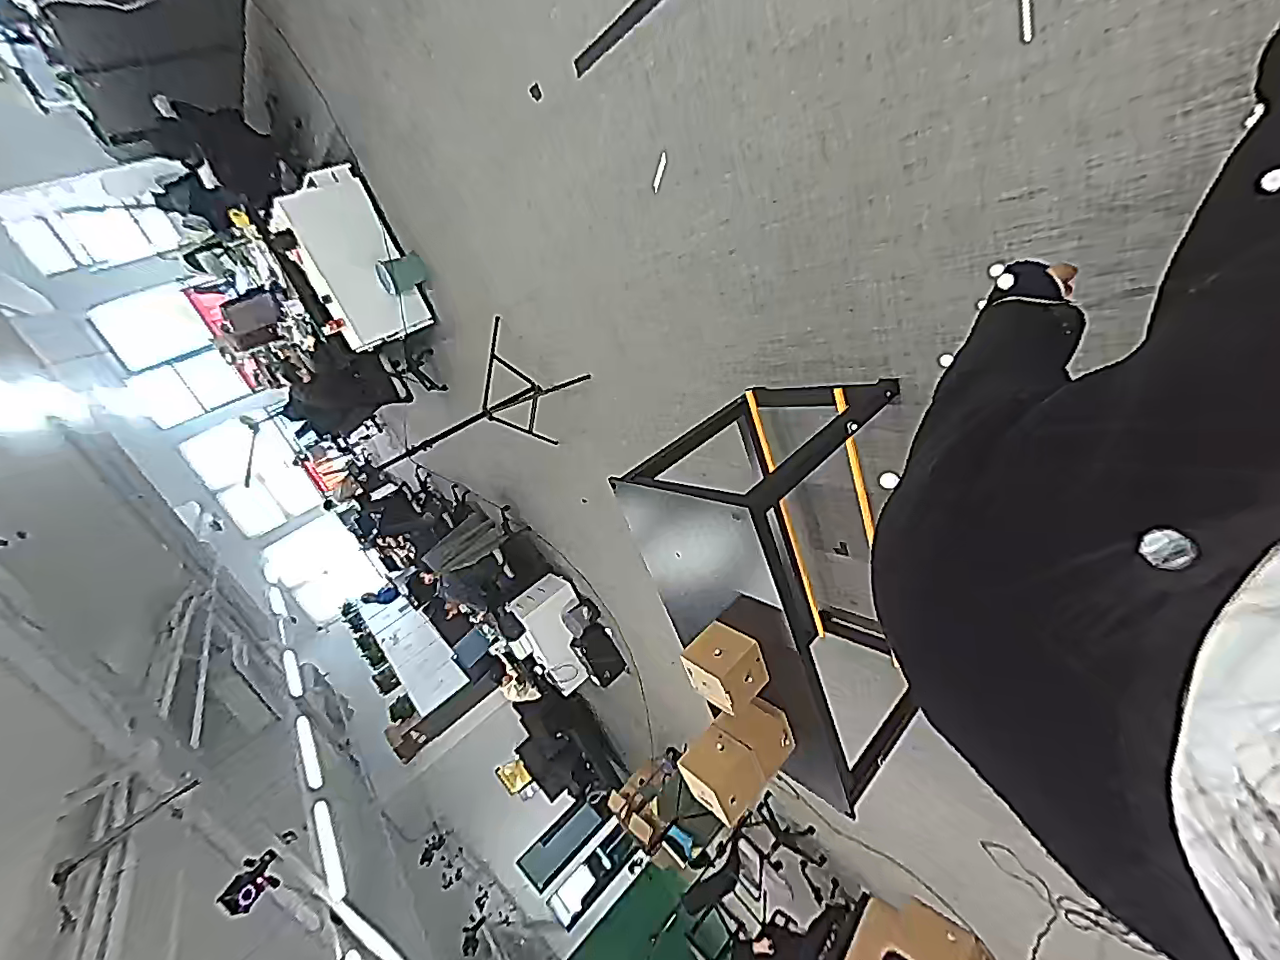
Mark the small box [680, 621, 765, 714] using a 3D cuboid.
[{"bbox_3d":[0.256,0.555,1.630,0.179,0.176,0.168,13,132,51],"label":"small box"}]

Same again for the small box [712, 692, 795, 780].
[{"bbox_3d":[0.367,0.809,1.741,0.179,0.176,0.168,10,130,52],"label":"small box"}]

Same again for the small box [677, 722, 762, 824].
[{"bbox_3d":[0.249,0.894,1.664,0.168,0.176,0.179,10,129,53],"label":"small box"}]
